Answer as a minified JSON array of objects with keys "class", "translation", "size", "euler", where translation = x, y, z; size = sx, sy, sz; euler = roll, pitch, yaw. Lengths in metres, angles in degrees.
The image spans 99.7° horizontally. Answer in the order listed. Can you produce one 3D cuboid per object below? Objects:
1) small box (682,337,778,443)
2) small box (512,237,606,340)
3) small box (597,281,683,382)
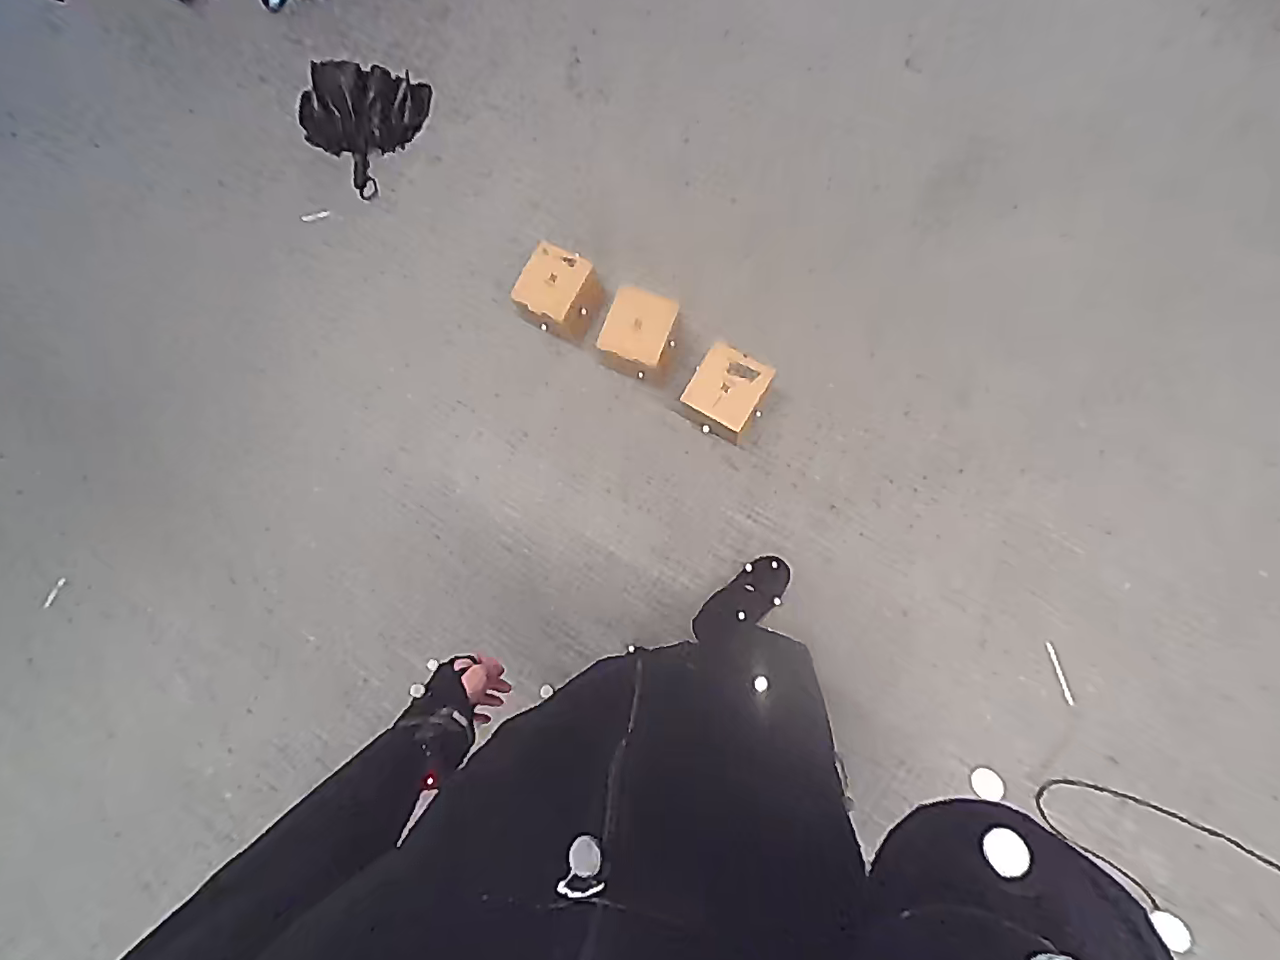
[{"class":"small box","translation":[0.221,-0.217,1.349],"size":[0.168,0.176,0.179],"euler":[32,88,12]},{"class":"small box","translation":[-0.208,-0.507,1.459],"size":[0.168,0.176,0.179],"euler":[29,87,12]},{"class":"small box","translation":[0.008,-0.378,1.408],"size":[0.168,0.176,0.179],"euler":[21,84,10]}]
